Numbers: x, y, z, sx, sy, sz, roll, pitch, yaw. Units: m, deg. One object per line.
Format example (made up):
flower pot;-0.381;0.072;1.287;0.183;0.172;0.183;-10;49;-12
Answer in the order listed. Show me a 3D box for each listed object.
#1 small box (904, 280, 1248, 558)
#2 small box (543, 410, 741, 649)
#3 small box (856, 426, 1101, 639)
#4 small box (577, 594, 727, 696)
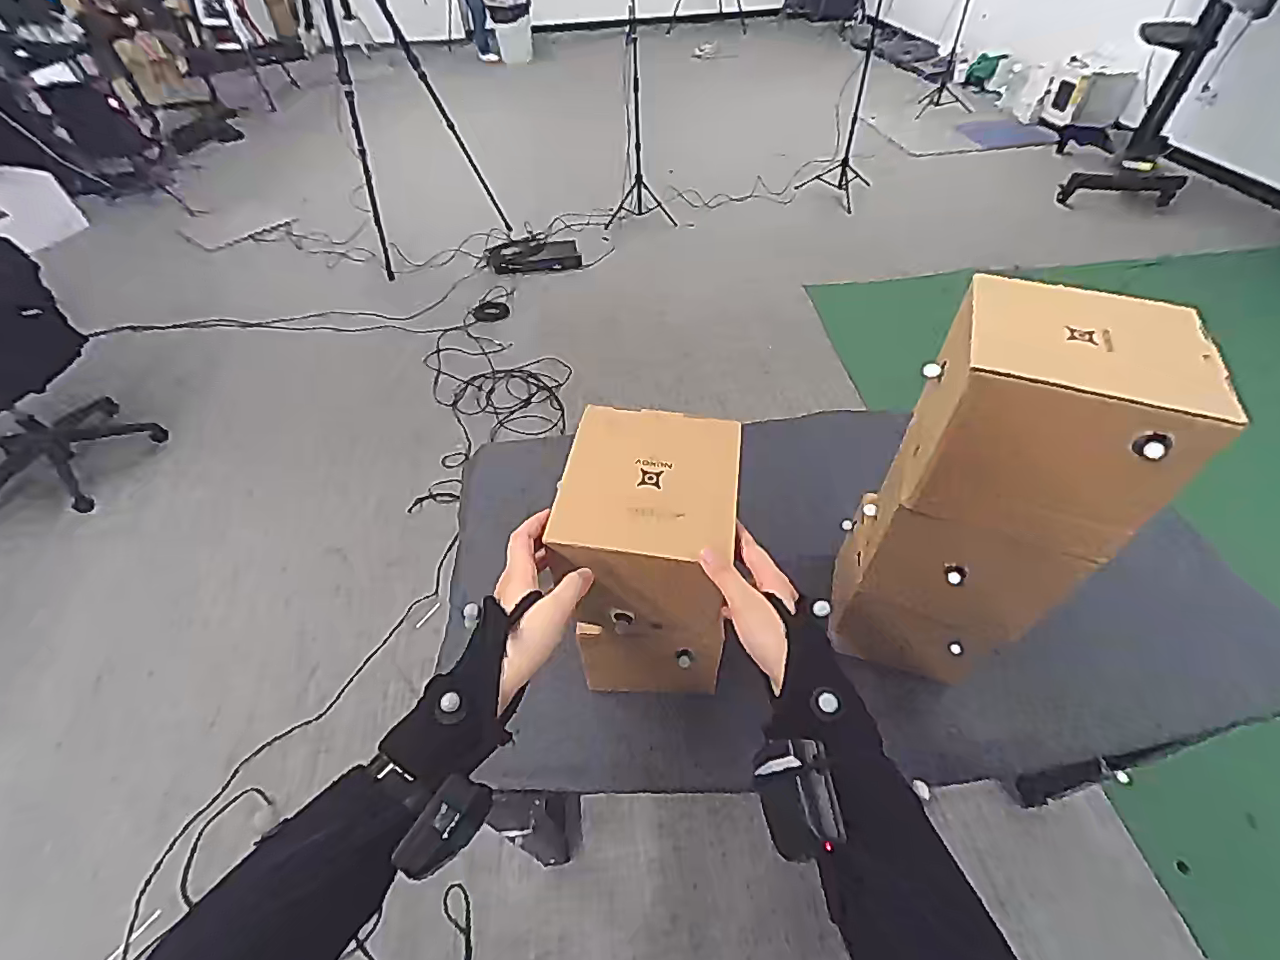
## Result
small box;0.360;-0.055;0.491;0.179;0.176;0.168;17;50;17
small box;0.008;0.053;0.573;0.168;0.176;0.179;8;51;6
small box;0.368;0.054;0.611;0.179;0.176;0.168;19;51;19
small box;0.020;0.181;0.737;0.179;0.176;0.168;1;47;4
